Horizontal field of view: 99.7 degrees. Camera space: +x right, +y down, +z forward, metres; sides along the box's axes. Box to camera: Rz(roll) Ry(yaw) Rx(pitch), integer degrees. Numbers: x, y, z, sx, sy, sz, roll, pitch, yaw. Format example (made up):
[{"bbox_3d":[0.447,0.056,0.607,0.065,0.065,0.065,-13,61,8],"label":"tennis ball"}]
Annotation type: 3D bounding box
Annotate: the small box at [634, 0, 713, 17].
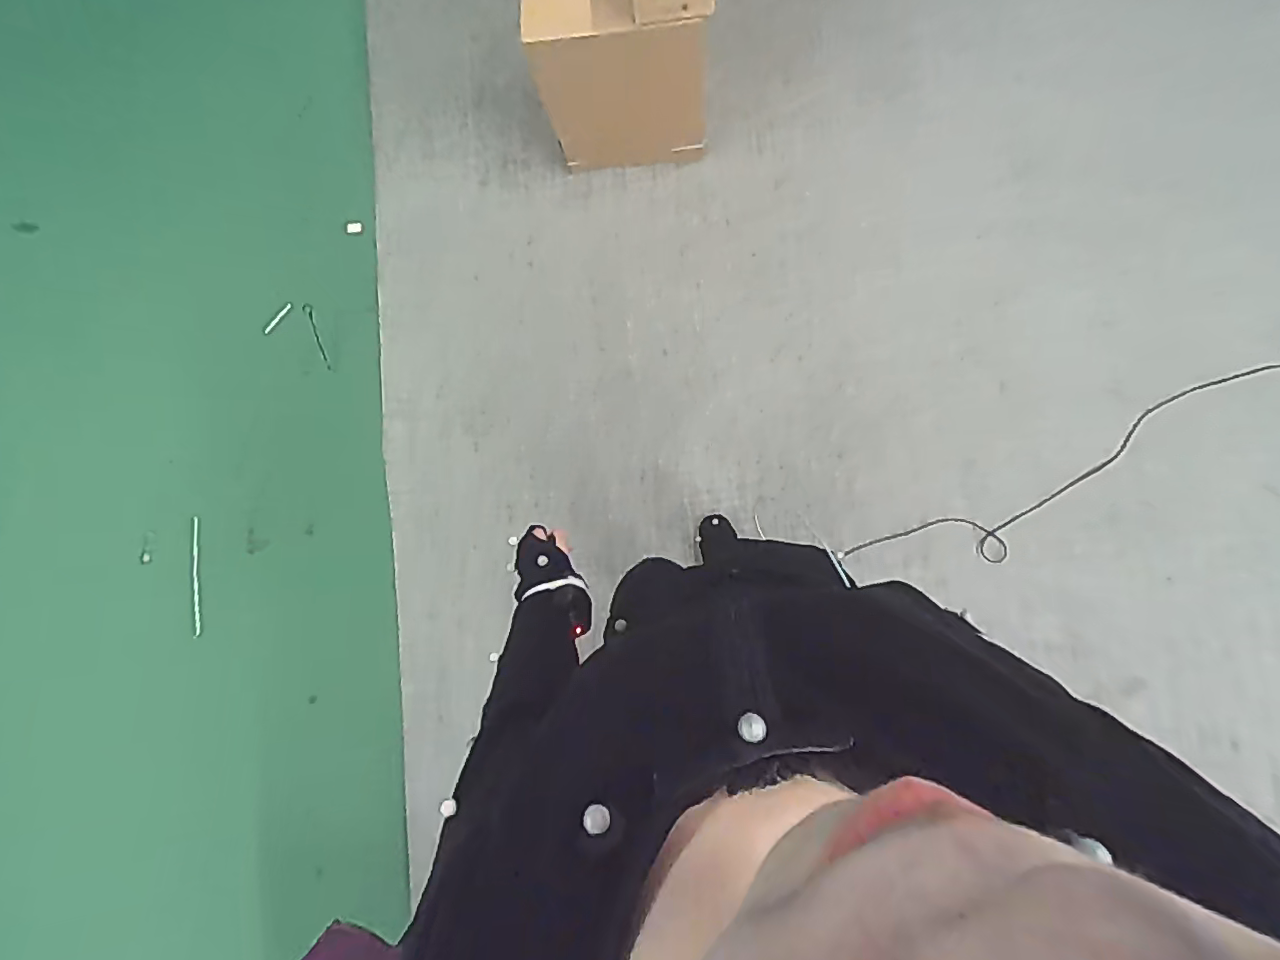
[{"bbox_3d":[0.060,-1.064,1.067,0.168,0.176,0.179,-4,85,6],"label":"small box"}]
